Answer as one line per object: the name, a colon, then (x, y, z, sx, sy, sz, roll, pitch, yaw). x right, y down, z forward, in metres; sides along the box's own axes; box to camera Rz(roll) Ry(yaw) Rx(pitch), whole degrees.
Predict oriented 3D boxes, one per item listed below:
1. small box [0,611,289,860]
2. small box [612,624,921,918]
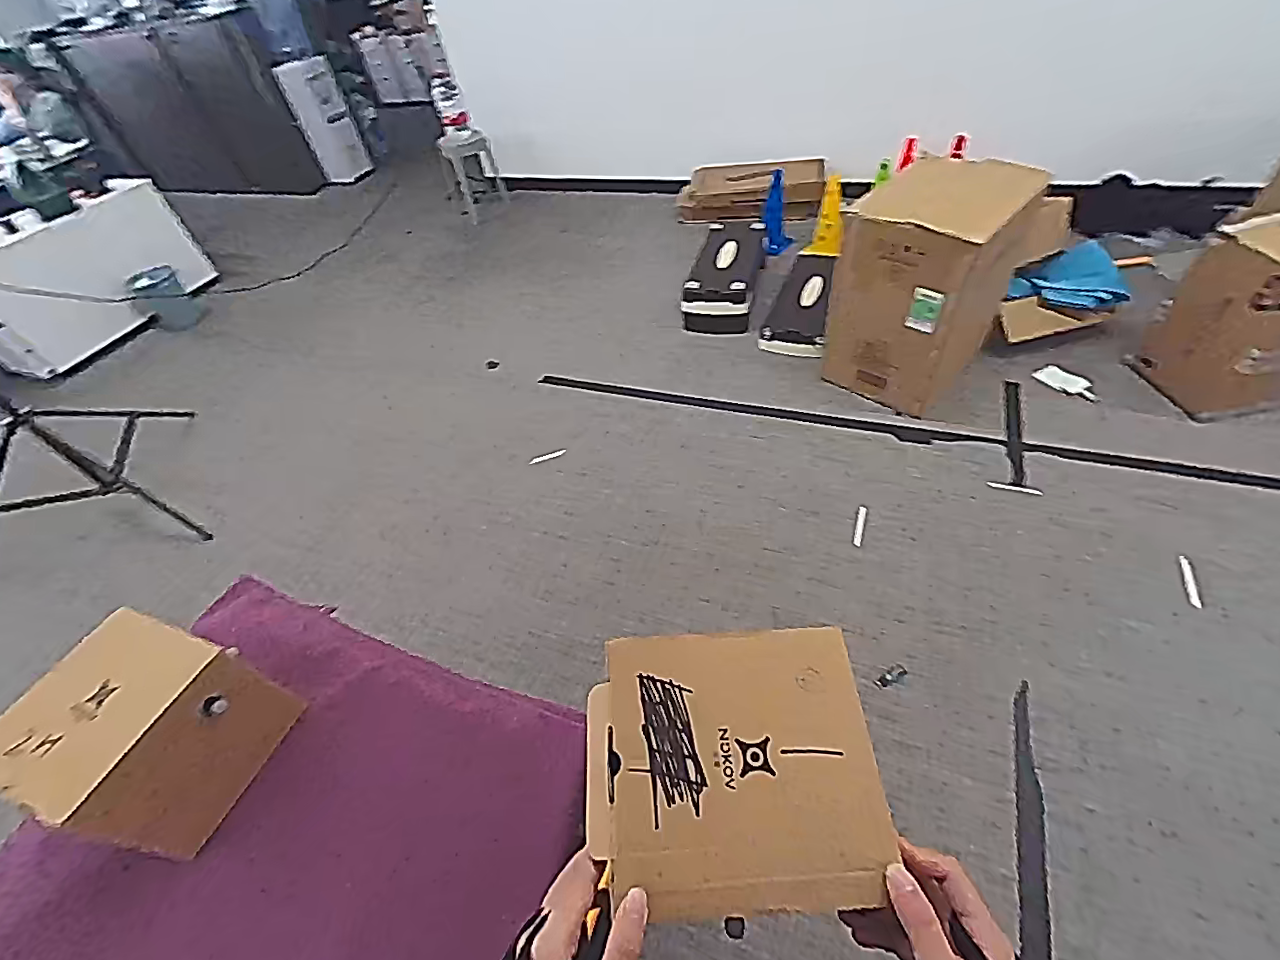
small box: (-0.532, 0.279, 0.594, 0.168, 0.176, 0.179, 12, 51, 18)
small box: (0.071, 0.222, 0.415, 0.179, 0.176, 0.168, -2, 56, -2)
